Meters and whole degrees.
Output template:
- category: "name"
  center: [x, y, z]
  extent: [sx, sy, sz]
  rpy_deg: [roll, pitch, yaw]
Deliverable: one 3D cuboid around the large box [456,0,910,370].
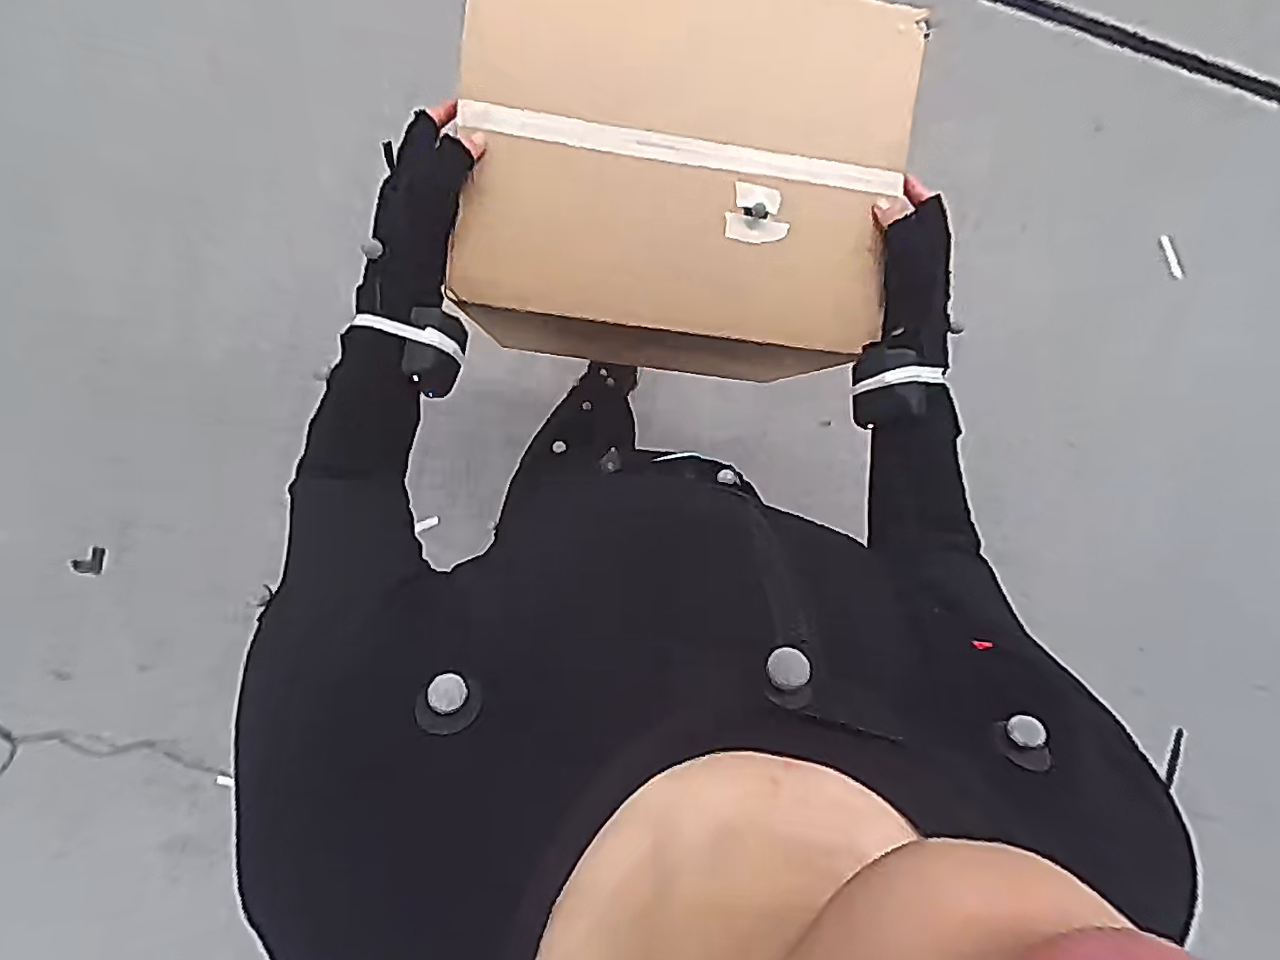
- category: "large box"
  center: [0.025, -0.318, 0.642]
  extent: [0.408, 0.320, 0.320]
  rpy_deg: [6, 97, -7]
